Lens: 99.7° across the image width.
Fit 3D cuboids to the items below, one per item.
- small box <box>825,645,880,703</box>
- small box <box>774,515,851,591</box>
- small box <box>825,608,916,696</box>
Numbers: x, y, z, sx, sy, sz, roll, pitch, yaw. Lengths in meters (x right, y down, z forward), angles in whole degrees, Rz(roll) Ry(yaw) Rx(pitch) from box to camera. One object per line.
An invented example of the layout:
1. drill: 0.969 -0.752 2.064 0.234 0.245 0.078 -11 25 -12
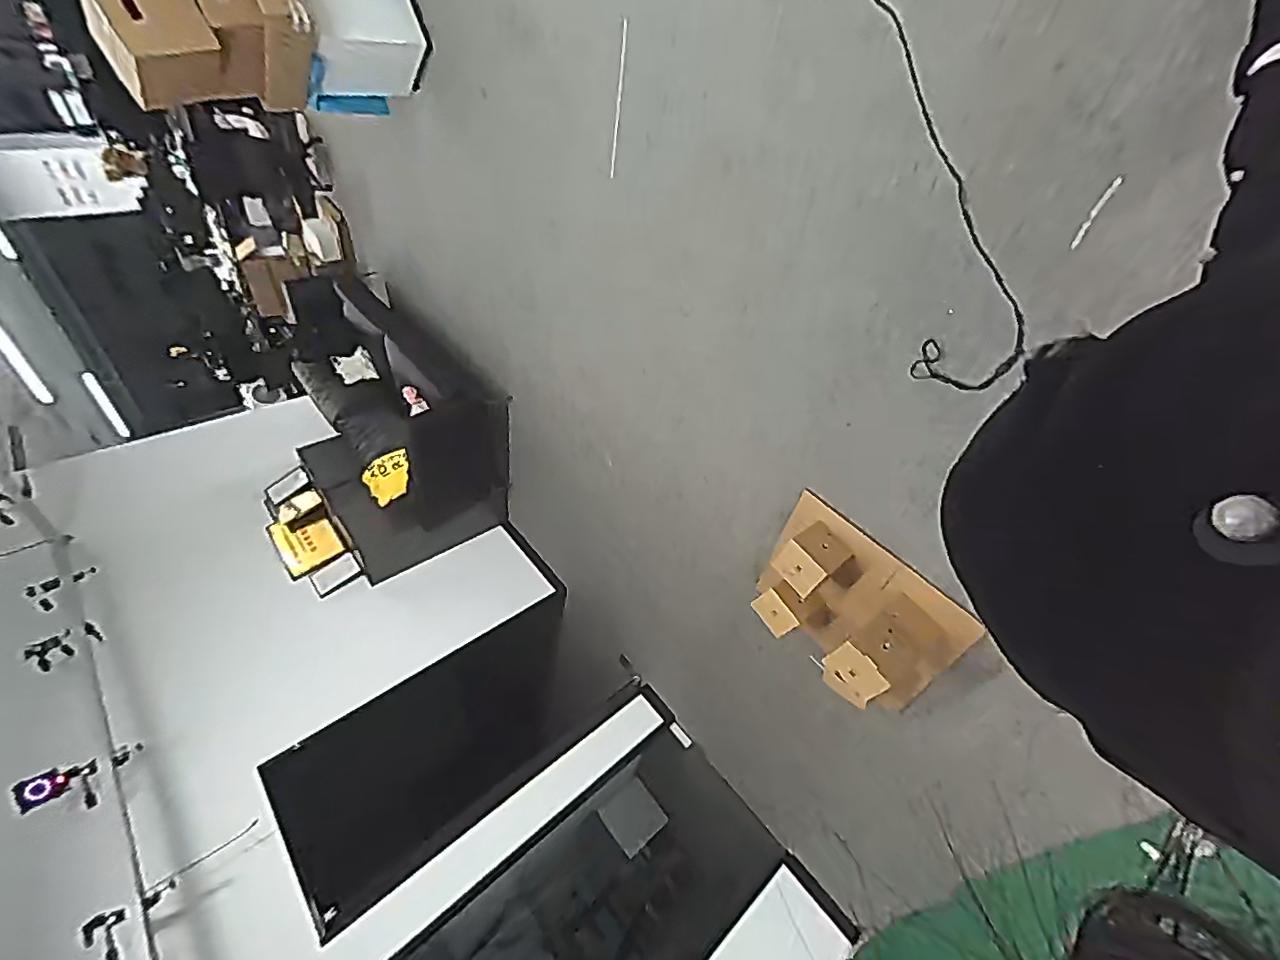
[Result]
1. small box: 0.799 0.651 1.943 0.179 0.176 0.168 32 136 40
2. small box: 0.616 0.254 1.913 0.168 0.176 0.179 48 145 23
3. small box: 0.717 0.528 1.669 0.168 0.176 0.179 49 144 22
